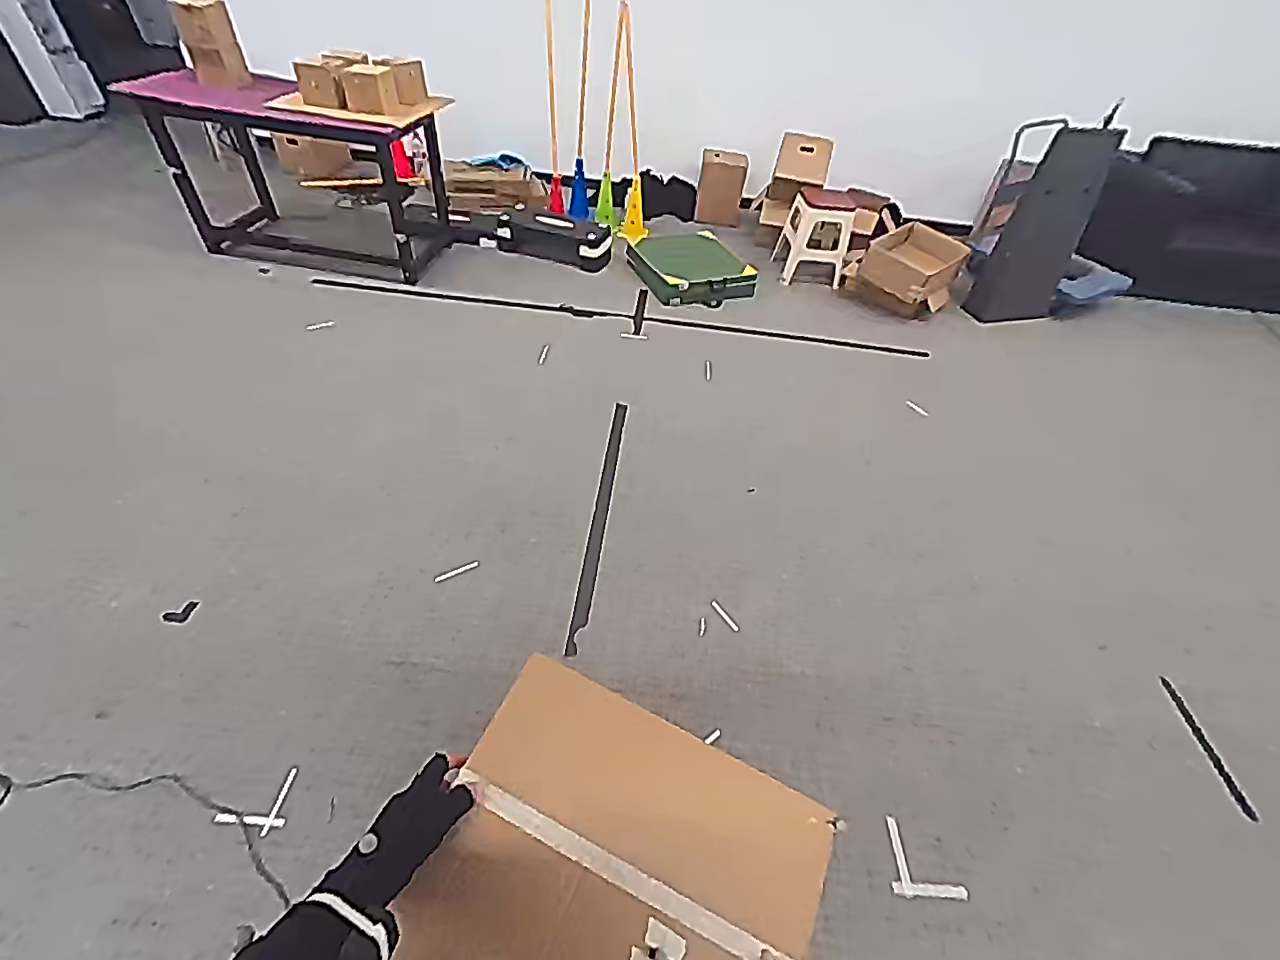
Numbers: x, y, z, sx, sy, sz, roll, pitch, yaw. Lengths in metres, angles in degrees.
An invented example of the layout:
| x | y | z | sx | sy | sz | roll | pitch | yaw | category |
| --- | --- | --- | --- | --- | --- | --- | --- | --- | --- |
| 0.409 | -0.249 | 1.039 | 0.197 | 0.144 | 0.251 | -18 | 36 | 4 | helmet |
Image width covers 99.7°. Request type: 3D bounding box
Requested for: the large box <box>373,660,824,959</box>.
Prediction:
| x | y | z | sx | sy | sz | roll | pitch | yaw | category |
| --- | --- | --- | --- | --- | --- | --- | --- | --- | --- |
| -0.043 | 0.498 | 0.702 | 0.408 | 0.320 | 0.320 | 25 | 58 | 8 | large box |
